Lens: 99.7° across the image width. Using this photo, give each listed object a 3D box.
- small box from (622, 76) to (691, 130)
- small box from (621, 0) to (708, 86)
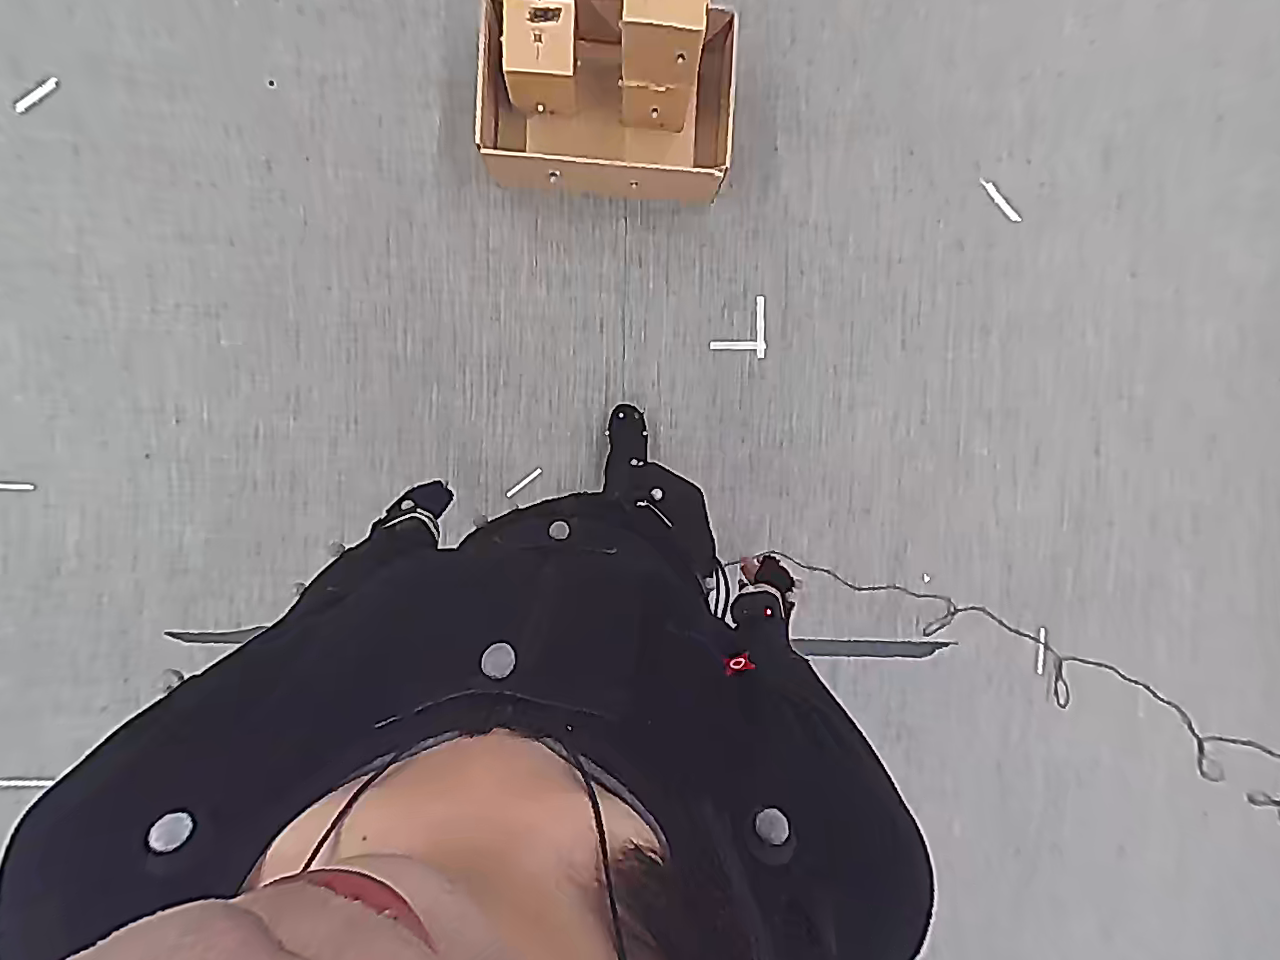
[{"bbox_3d":[0.041,-1.013,1.354,0.168,0.176,0.179,3,94,-3],"label":"small box"},{"bbox_3d":[0.053,-1.011,1.192,0.179,0.176,0.168,5,91,-2],"label":"small box"}]
